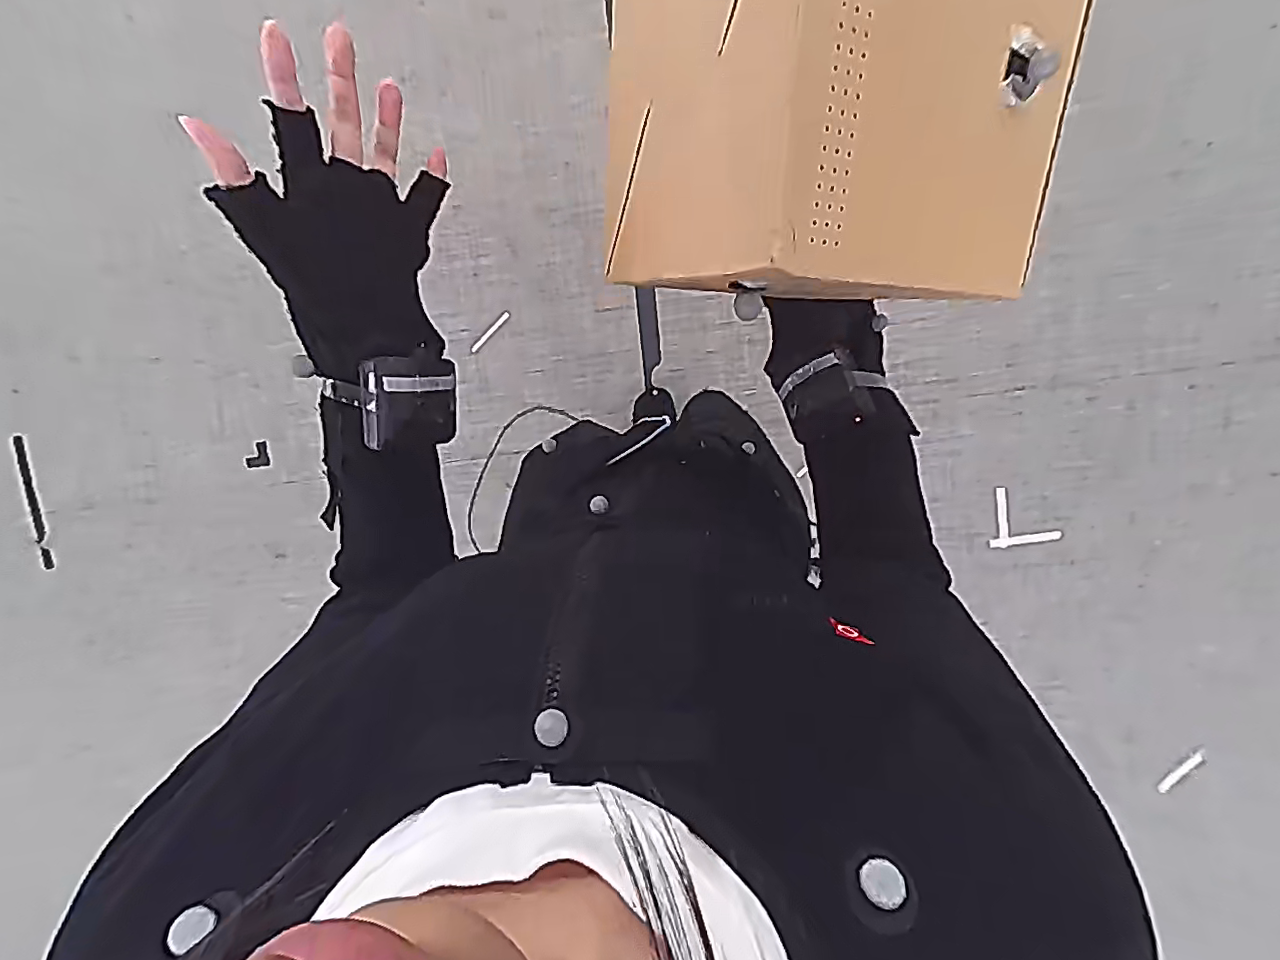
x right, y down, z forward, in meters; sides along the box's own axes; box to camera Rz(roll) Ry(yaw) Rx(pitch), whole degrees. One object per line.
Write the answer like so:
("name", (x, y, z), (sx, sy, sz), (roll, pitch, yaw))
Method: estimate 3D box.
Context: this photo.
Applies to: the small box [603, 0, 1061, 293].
("small box", (0.085, -0.200, 0.296), (0.176, 0.168, 0.179), (-5, 109, -25))
